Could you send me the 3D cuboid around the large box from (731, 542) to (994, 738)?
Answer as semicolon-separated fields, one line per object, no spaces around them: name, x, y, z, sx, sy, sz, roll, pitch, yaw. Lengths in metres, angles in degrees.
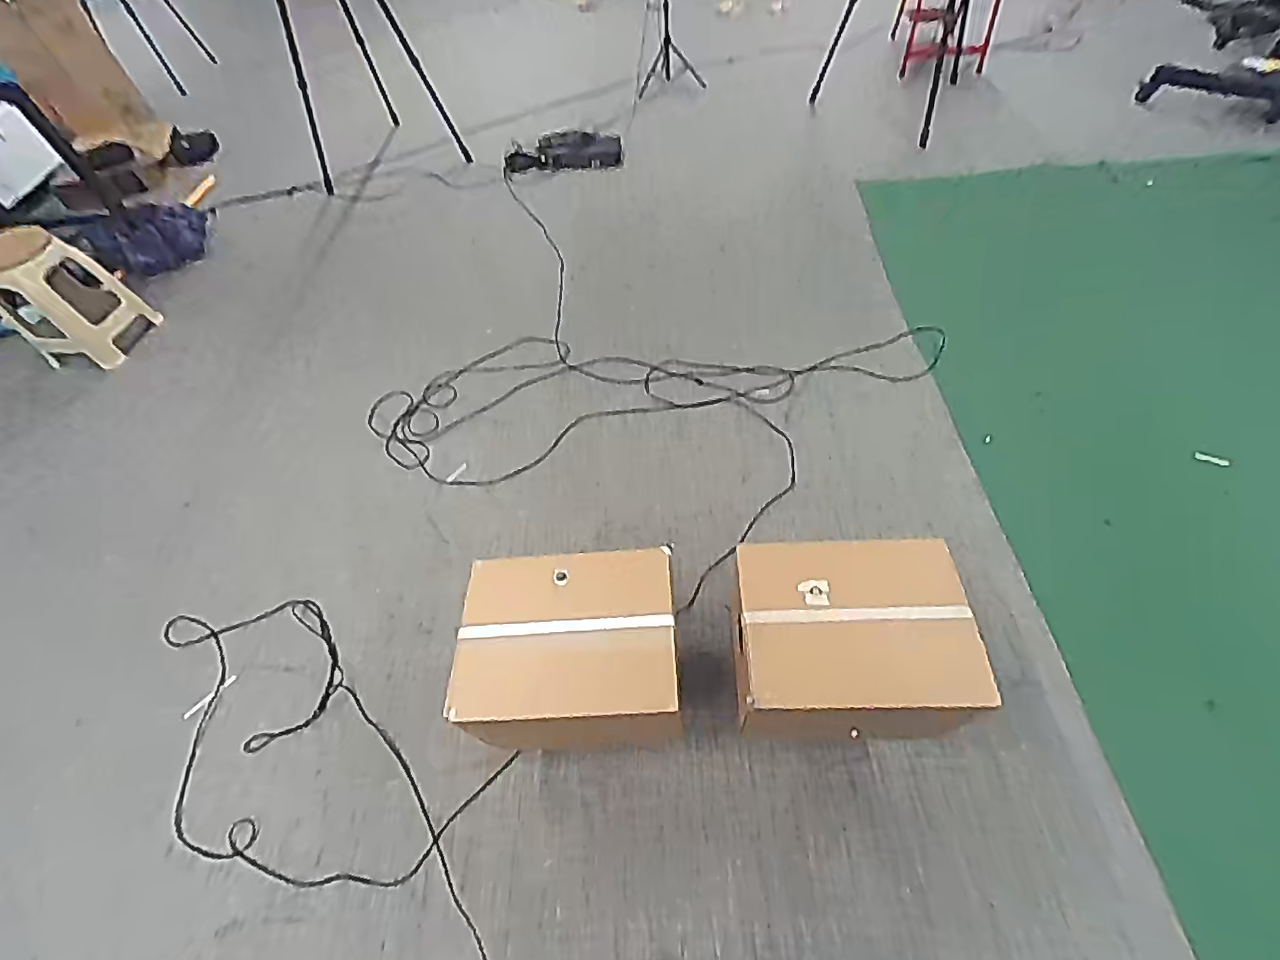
large box;0.408;0.342;1.116;0.408;0.320;0.320;-2;55;5
